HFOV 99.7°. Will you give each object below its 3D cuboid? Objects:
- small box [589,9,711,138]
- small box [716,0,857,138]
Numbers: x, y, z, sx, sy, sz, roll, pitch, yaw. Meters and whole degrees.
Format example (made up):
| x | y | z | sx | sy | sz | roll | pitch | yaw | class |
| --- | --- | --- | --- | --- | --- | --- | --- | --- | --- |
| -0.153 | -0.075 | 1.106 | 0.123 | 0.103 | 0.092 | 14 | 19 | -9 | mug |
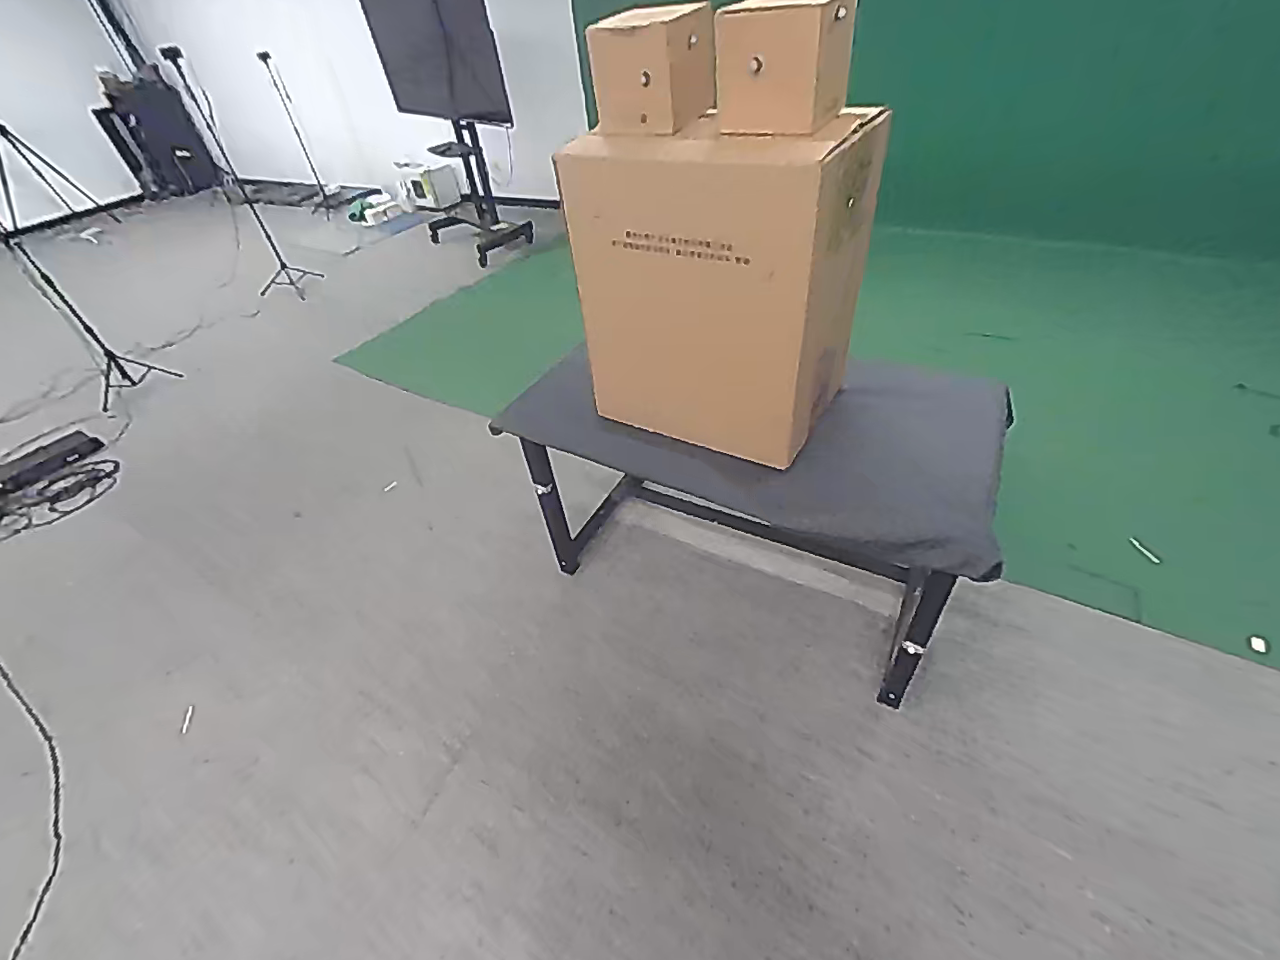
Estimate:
| x | y | z | sx | sy | sz | roll | pitch | yaw | class |
| --- | --- | --- | --- | --- | --- | --- | --- | --- | --- |
| 0.030 | -0.770 | 1.032 | 0.168 | 0.176 | 0.179 | 20 | 52 | 25 | small box |
| 0.246 | -0.696 | 0.915 | 0.179 | 0.176 | 0.168 | 20 | 53 | 28 | small box |
